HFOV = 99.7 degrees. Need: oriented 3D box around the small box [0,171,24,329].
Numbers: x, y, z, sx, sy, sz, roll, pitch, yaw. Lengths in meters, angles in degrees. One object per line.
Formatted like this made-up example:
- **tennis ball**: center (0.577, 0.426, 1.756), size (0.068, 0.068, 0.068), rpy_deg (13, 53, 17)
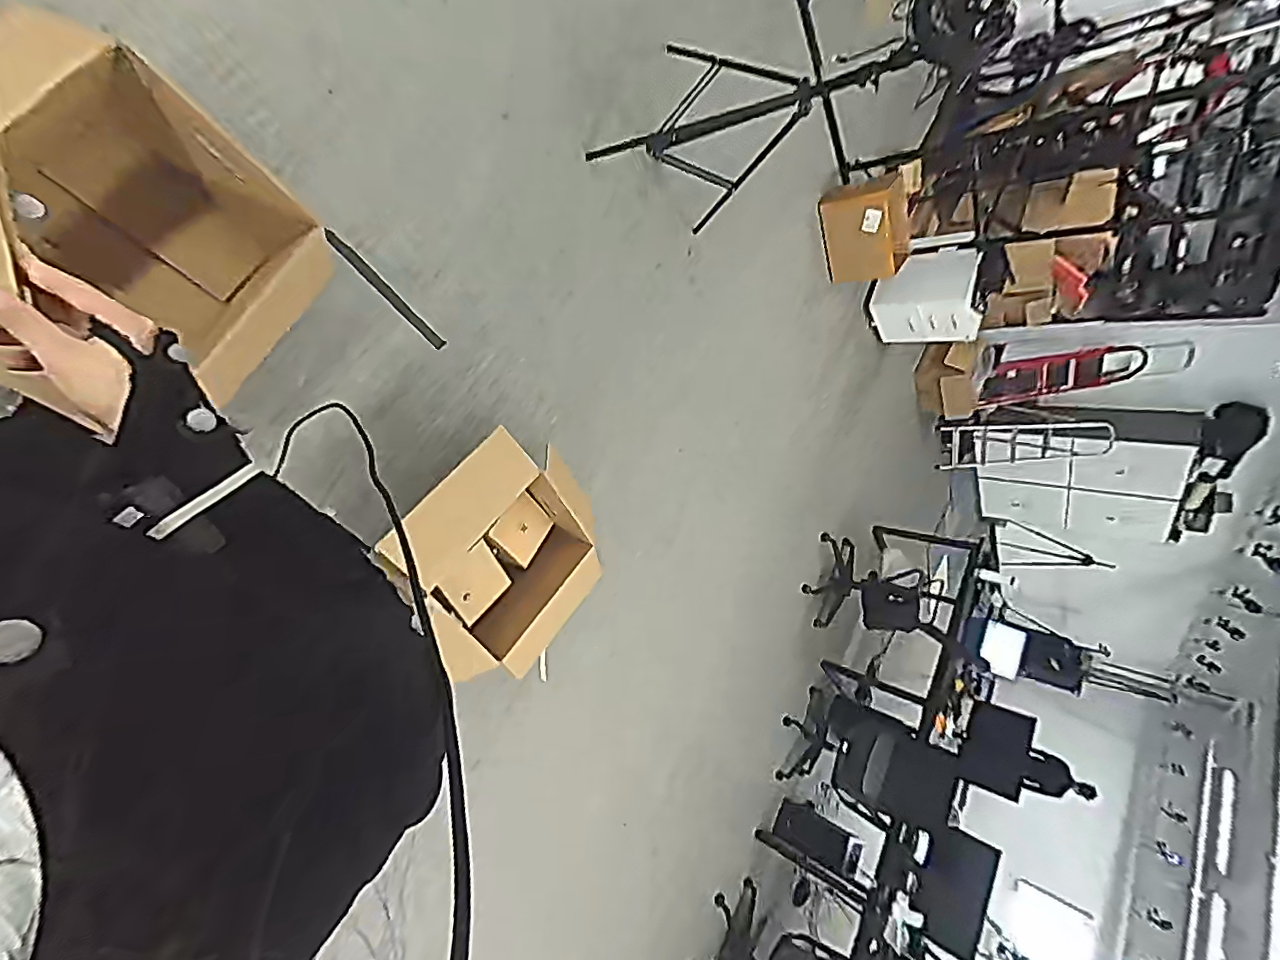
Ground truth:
- **small box**: center (-0.480, -0.178, 0.292), size (0.179, 0.176, 0.168), rpy_deg (-12, 115, -46)
